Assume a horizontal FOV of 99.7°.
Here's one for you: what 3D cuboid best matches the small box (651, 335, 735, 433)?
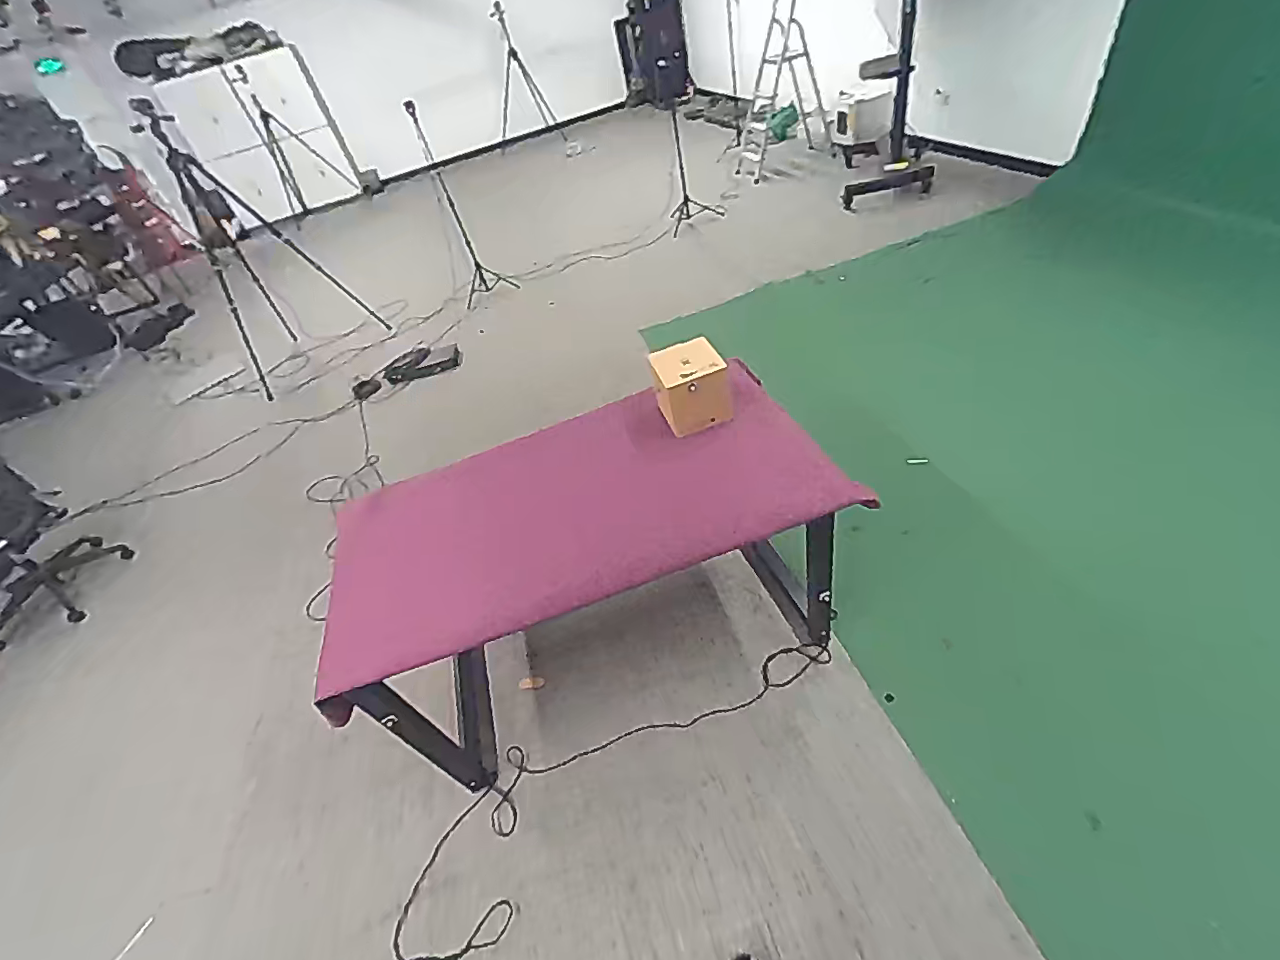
[{"bbox_3d":[0.142,-0.255,1.441,0.168,0.176,0.179,-20,43,-2],"label":"small box"}]
